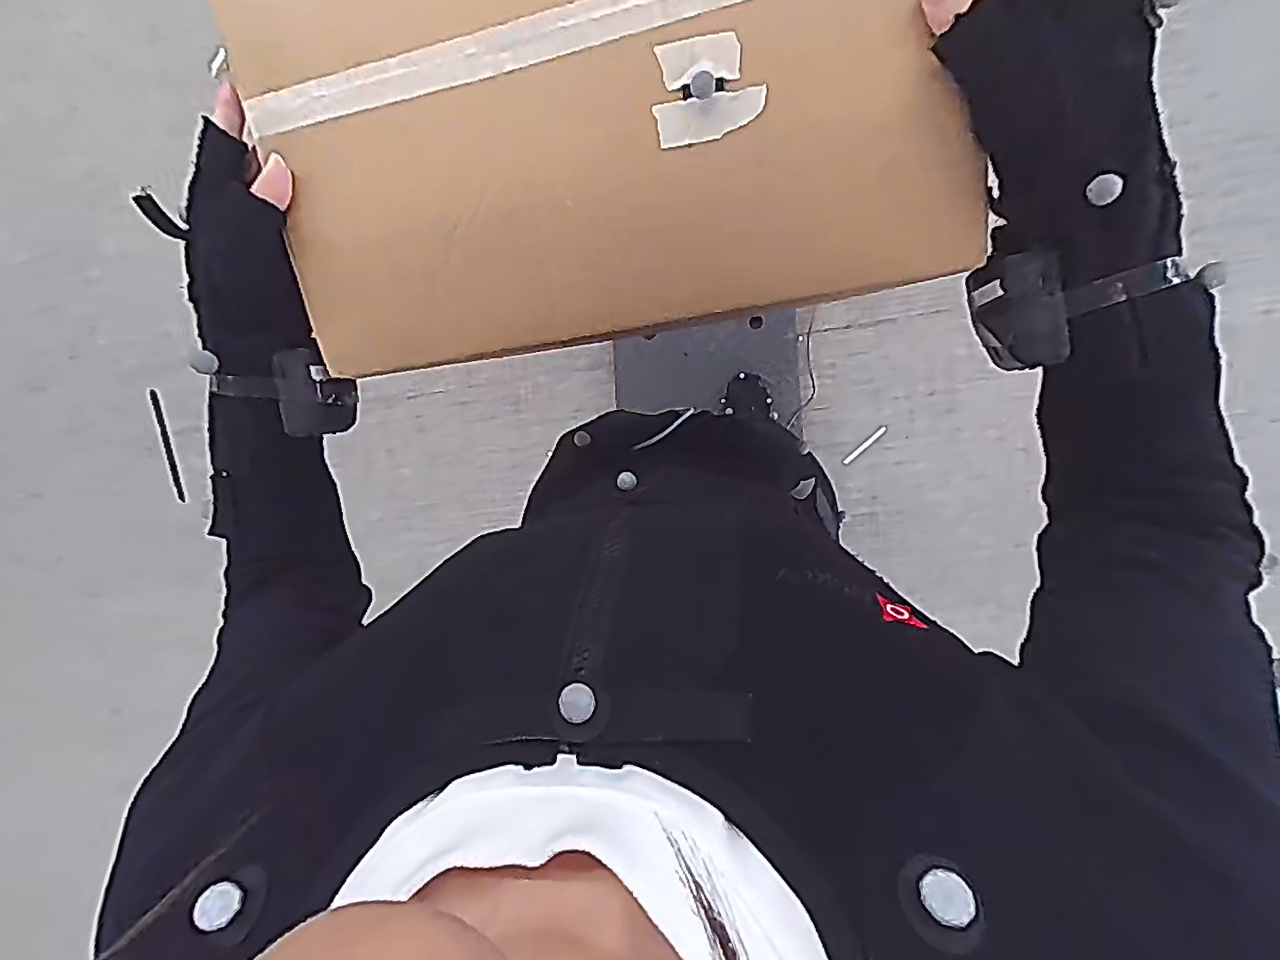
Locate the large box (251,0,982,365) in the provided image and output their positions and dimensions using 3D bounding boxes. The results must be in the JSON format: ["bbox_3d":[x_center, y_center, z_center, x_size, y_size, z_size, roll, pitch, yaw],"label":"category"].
[{"bbox_3d":[-0.009,-0.291,0.443,0.408,0.320,0.320,-7,105,10],"label":"large box"}]
